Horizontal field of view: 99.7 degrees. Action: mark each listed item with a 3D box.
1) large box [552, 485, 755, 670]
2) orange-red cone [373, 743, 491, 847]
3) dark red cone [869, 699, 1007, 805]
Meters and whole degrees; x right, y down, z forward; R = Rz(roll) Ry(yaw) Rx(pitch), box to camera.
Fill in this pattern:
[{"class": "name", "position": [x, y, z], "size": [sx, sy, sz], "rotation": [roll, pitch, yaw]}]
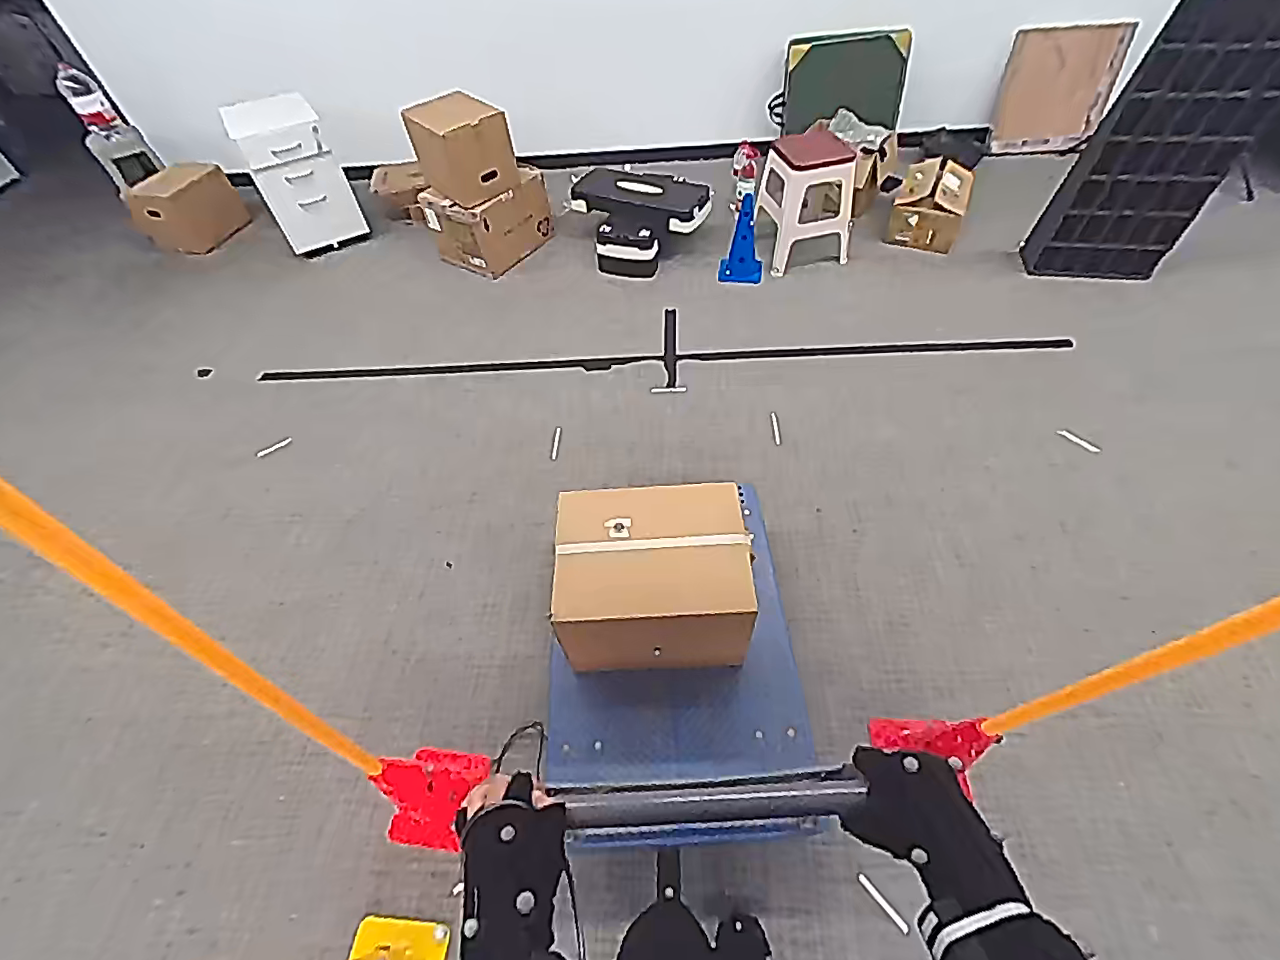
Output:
[{"class": "large box", "position": [0.031, 0.234, 1.252], "size": [0.408, 0.320, 0.320], "rotation": [-4, 53, 2]}, {"class": "orange-red cone", "position": [-0.482, 0.640, 1.159], "size": [0.198, 0.360, 0.199], "rotation": [6, 51, 7]}, {"class": "dark red cone", "position": [0.648, 0.539, 1.129], "size": [0.201, 0.394, 0.202], "rotation": [0, 52, 2]}]
